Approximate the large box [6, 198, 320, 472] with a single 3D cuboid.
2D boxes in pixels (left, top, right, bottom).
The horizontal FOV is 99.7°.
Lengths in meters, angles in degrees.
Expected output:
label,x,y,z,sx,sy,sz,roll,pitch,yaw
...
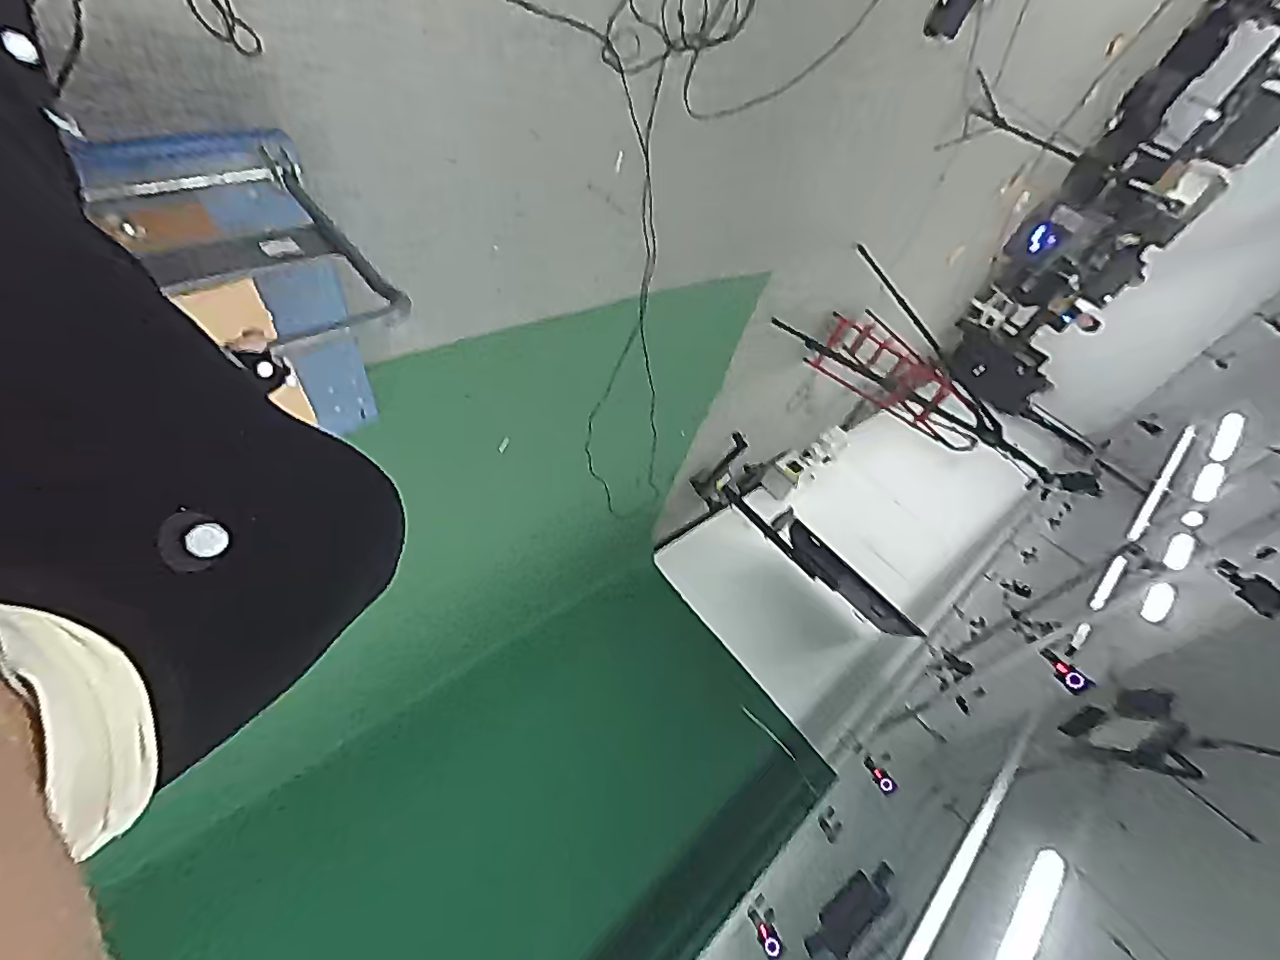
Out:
label,x,y,z,sx,sy,sz,roll,pitch,yaw
large box,-0.958,-0.299,1.136,0.320,0.320,0.408,-30,155,-29
